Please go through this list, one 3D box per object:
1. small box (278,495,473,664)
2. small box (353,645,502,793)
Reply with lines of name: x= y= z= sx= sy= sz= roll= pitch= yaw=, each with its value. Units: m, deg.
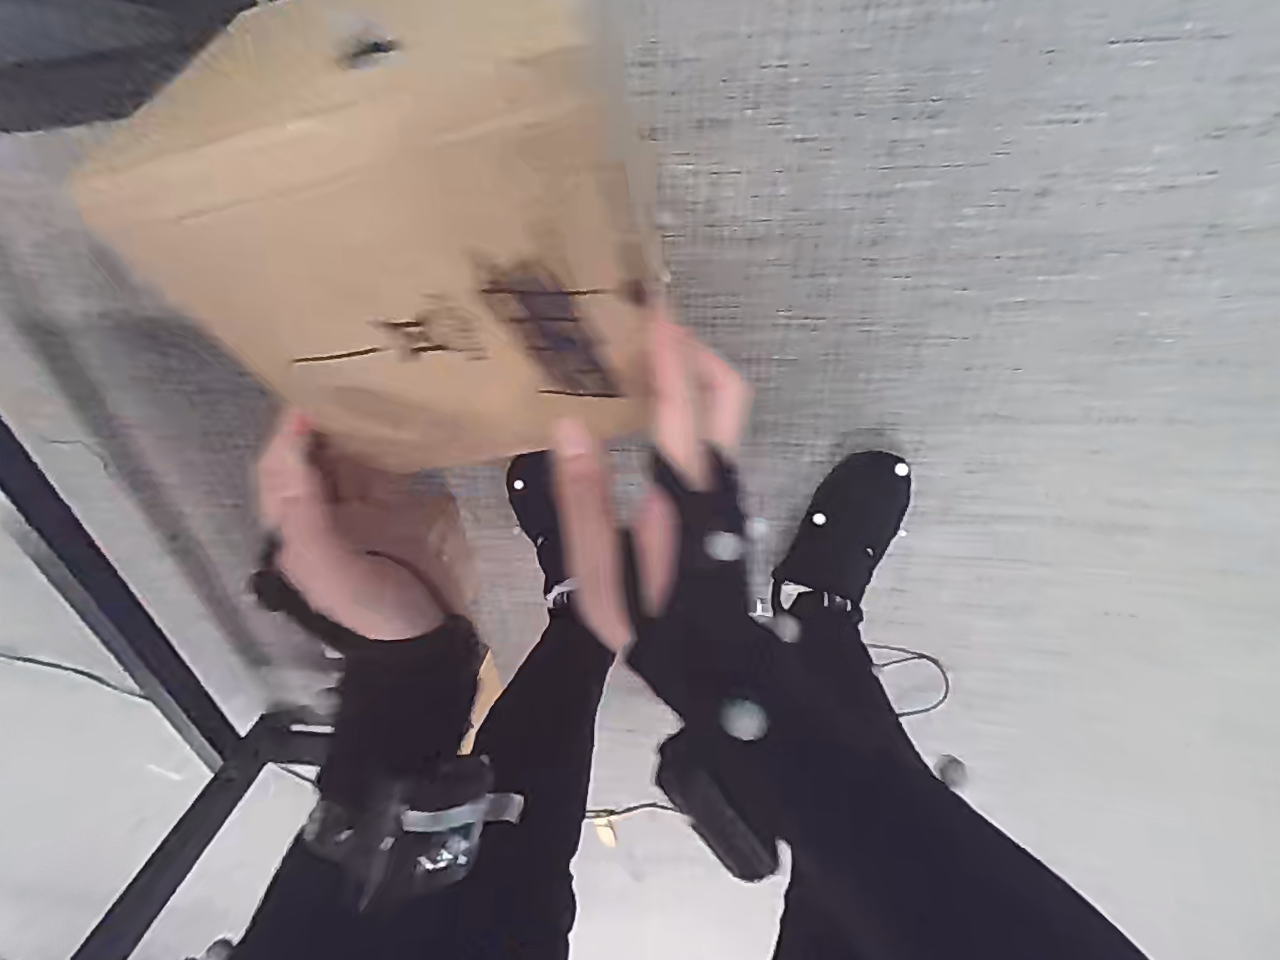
small box: x=-0.362 y=0.136 z=0.778 sx=0.168 sy=0.176 sz=0.179 roll=2 pitch=123 yaw=8
small box: x=-0.358 y=0.413 z=0.950 sx=0.168 sy=0.176 sz=0.179 roll=0 pitch=121 yaw=8
